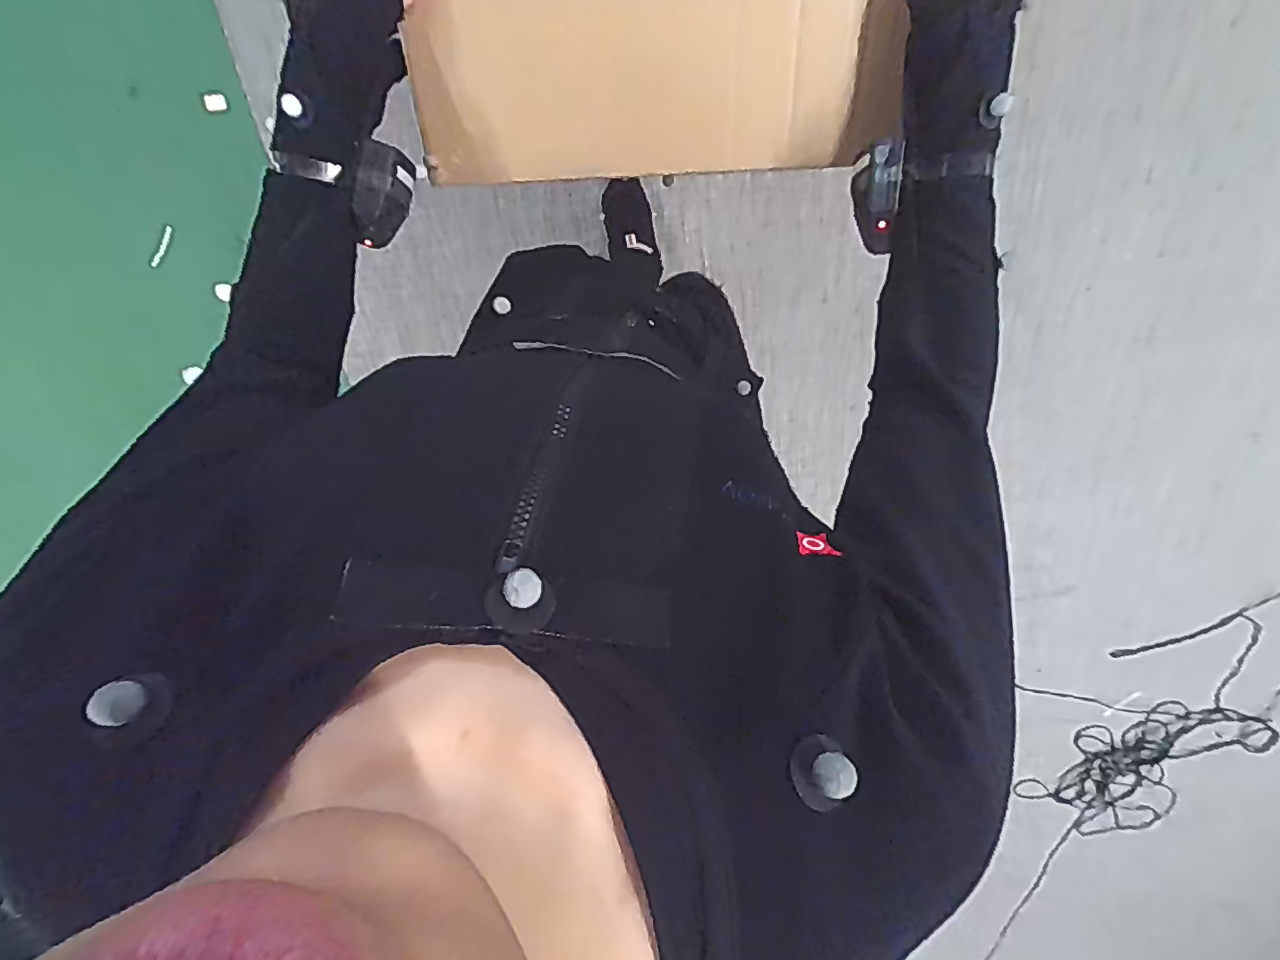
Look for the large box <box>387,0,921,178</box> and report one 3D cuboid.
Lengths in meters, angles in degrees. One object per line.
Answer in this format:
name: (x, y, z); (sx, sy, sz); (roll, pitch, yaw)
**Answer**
large box: (0.015, -0.476, 0.499); (0.408, 0.320, 0.320); (0, 121, 5)
